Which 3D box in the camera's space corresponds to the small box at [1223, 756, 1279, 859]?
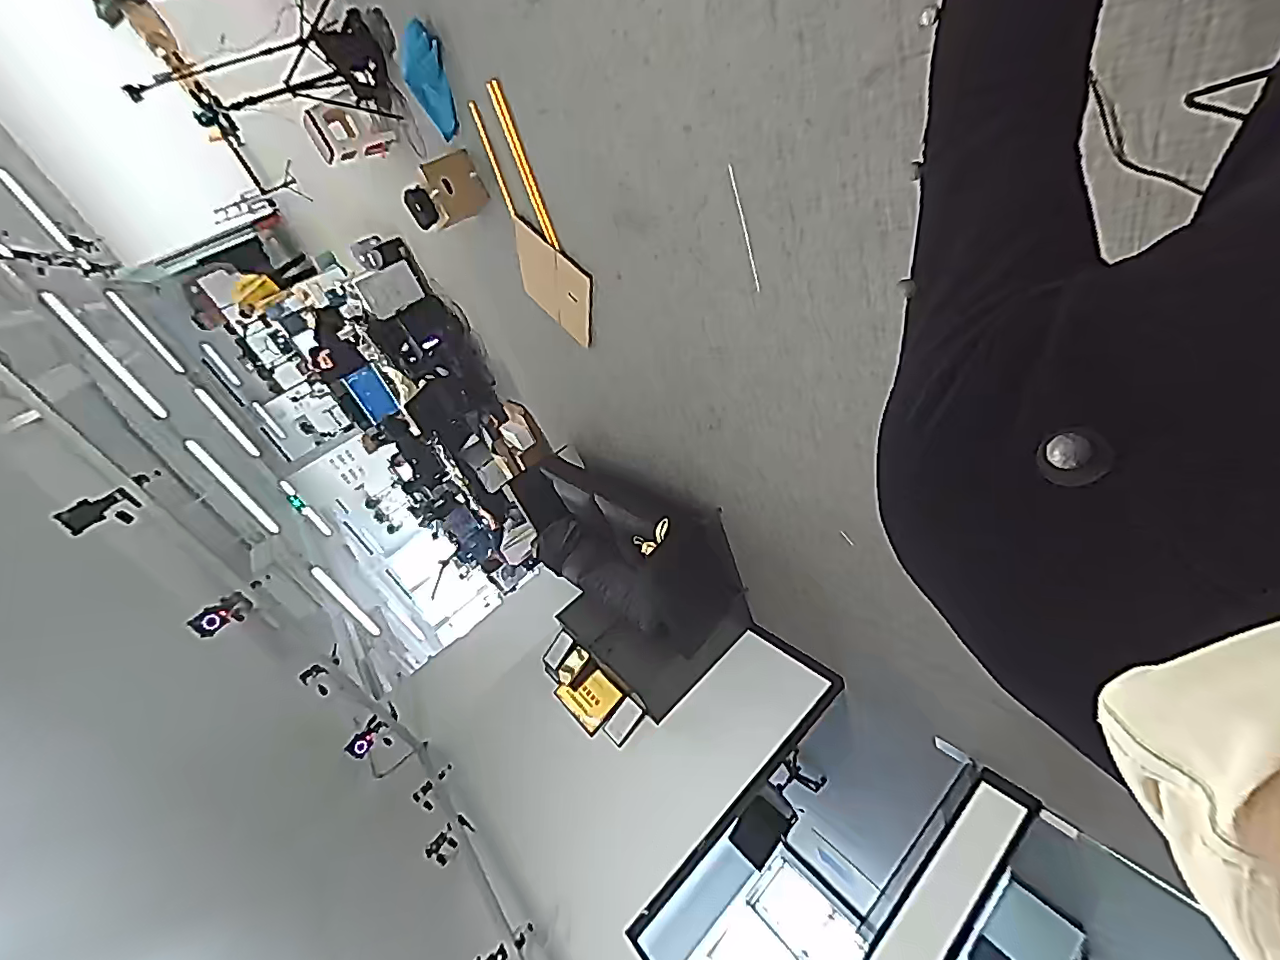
[{"bbox_3d":[1.606,0.823,1.323,0.179,0.176,0.168,30,150,41],"label":"small box"}]
